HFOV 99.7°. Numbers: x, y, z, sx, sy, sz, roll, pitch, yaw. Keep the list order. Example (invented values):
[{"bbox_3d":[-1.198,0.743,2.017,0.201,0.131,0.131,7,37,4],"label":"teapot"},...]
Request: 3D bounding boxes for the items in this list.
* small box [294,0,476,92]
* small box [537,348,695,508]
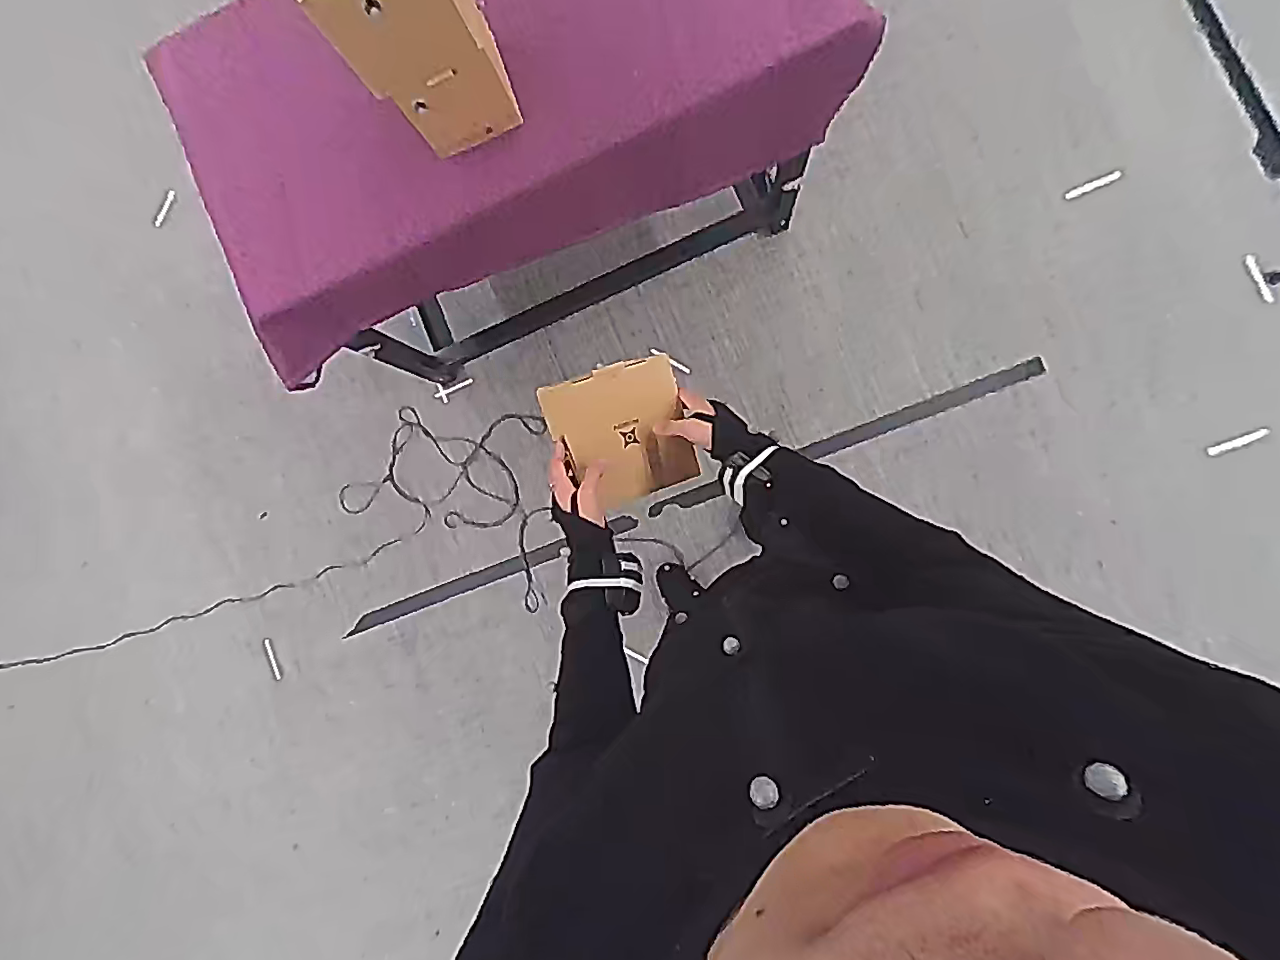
[{"bbox_3d":[-0.355,-0.683,0.734,0.179,0.176,0.168,-19,86,6],"label":"small box"},{"bbox_3d":[-0.042,-0.080,0.789,0.168,0.176,0.179,-21,102,-12],"label":"small box"}]
